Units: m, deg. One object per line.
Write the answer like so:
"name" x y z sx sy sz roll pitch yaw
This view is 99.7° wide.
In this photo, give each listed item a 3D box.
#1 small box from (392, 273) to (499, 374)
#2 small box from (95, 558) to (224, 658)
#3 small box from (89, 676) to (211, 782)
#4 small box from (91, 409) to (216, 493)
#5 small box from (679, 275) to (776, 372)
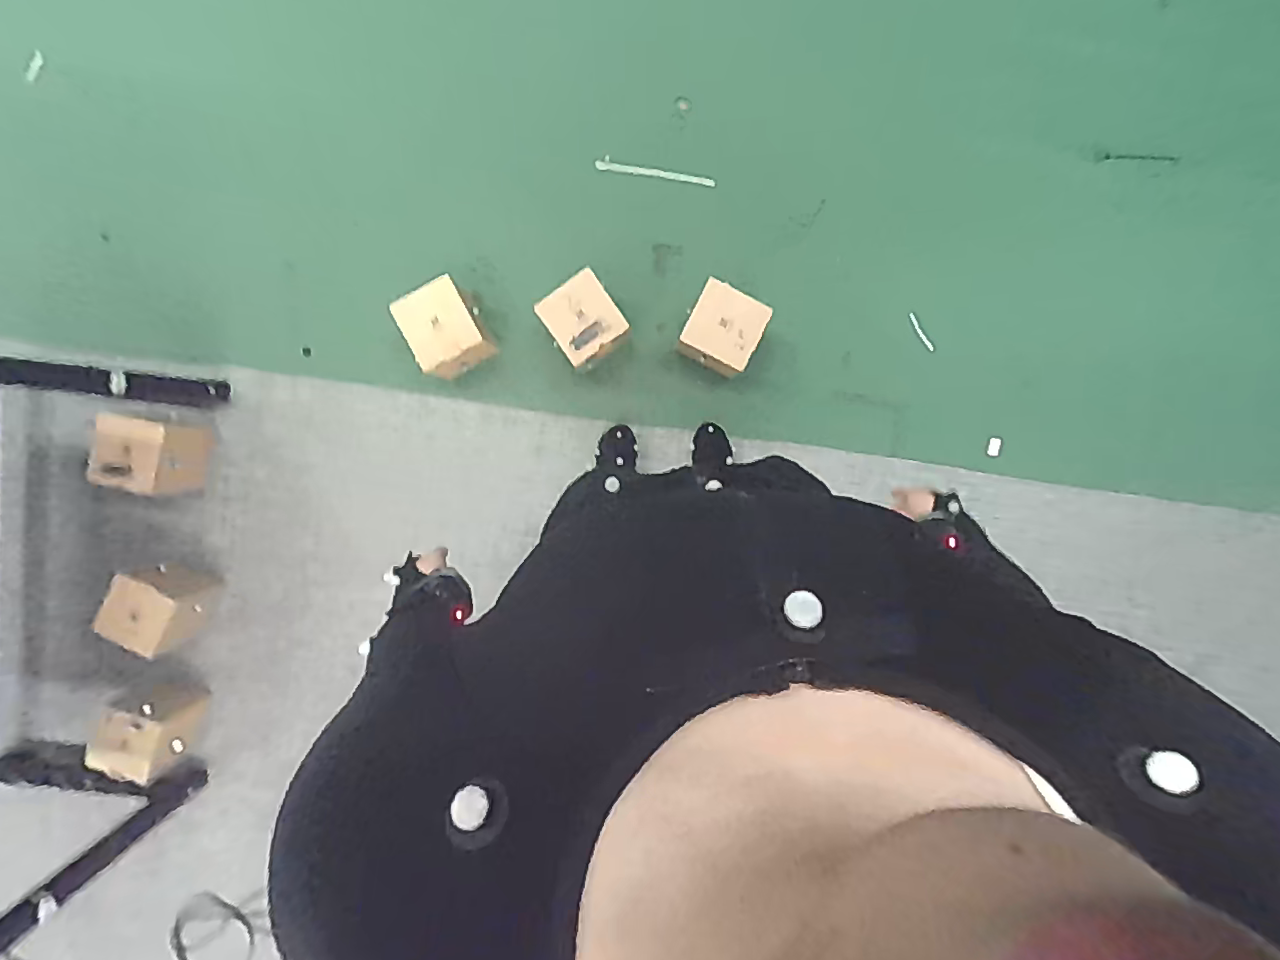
"small box" -0.481 -0.385 1.363 0.168 0.176 0.179 -28 96 2
"small box" -1.258 0.328 1.432 0.168 0.176 0.179 28 96 -2
"small box" -1.318 0.668 1.467 0.168 0.176 0.179 20 96 -2
"small box" -1.241 -0.076 1.391 0.168 0.176 0.179 13 95 -2
"small box" 0.210 -0.382 1.361 0.179 0.176 0.168 27 95 -3
